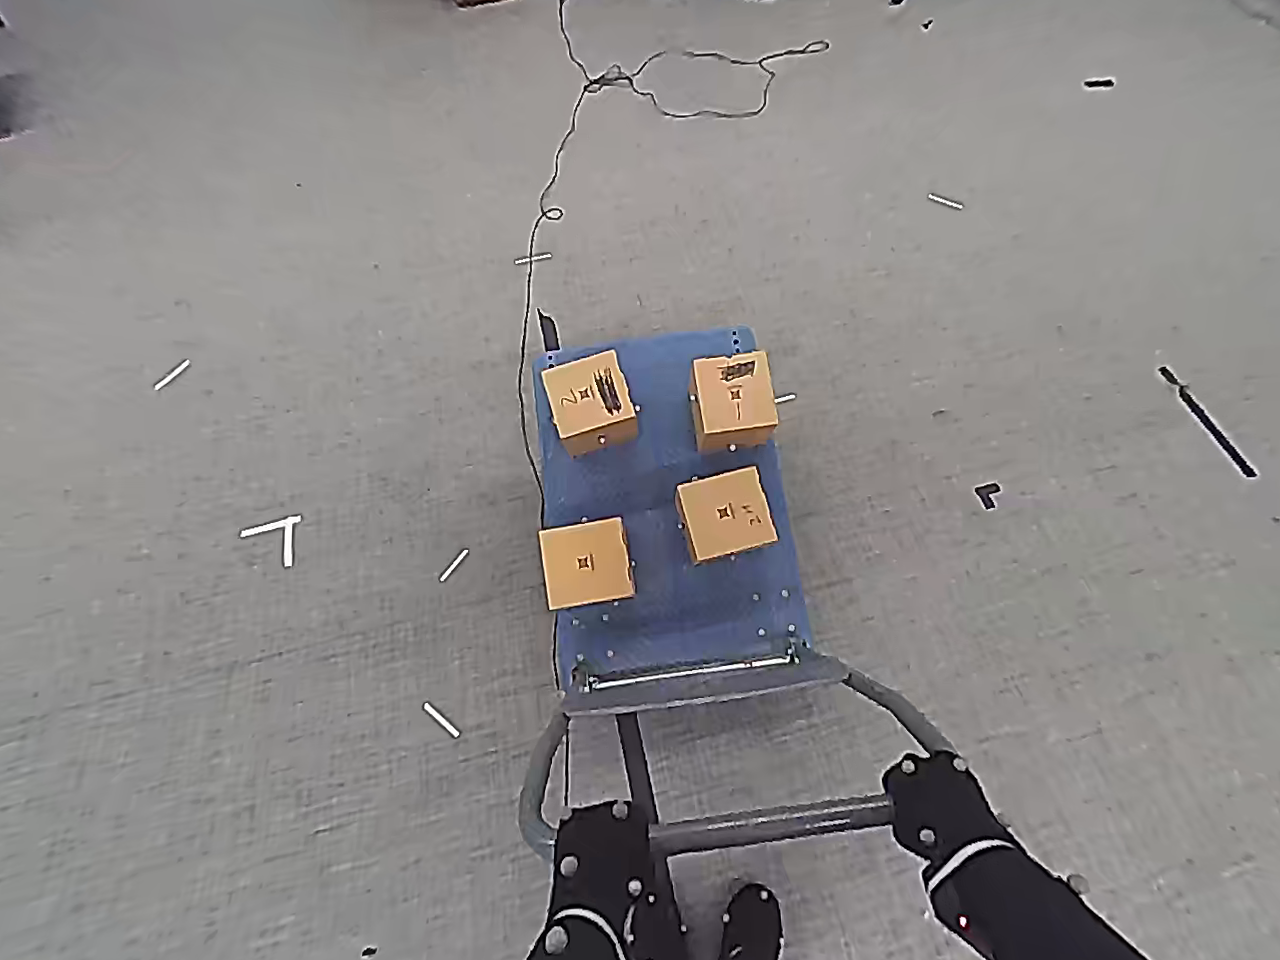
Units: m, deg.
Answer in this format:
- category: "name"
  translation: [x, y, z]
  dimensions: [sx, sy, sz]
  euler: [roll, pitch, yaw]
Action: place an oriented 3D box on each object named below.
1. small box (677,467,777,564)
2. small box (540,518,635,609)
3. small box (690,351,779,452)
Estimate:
- category: "small box"
  translation: [0.185, 0.086, 1.205]
  dimensions: [0.179, 0.176, 0.168]
  euler: [-14, 78, -1]
- category: "small box"
  translation: [-0.109, 0.190, 1.194]
  dimensions: [0.179, 0.176, 0.168]
  euler: [-10, 78, -2]
- category: "small box"
  translation: [0.212, -0.177, 1.260]
  dimensions: [0.168, 0.176, 0.179]
  euler: [-8, 79, 1]
